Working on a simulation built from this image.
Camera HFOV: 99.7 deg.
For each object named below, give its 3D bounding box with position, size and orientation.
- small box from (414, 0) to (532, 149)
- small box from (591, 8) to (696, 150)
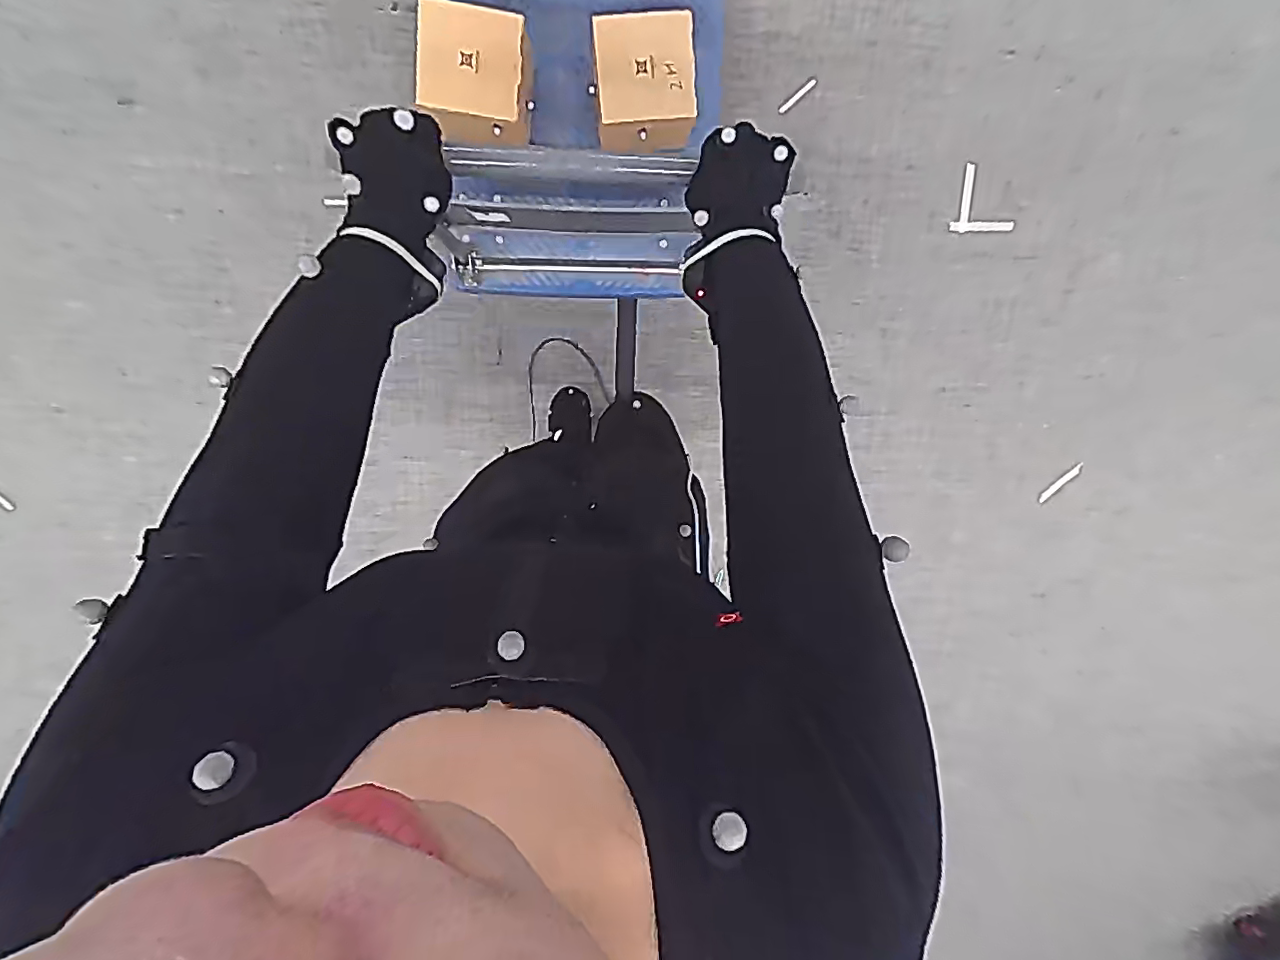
[{"bbox_3d":[-0.300,-0.738,0.997,0.179,0.176,0.168,5,104,-8],"label":"small box"},{"bbox_3d":[0.004,-0.742,1.019,0.179,0.176,0.168,-6,105,-3],"label":"small box"}]
